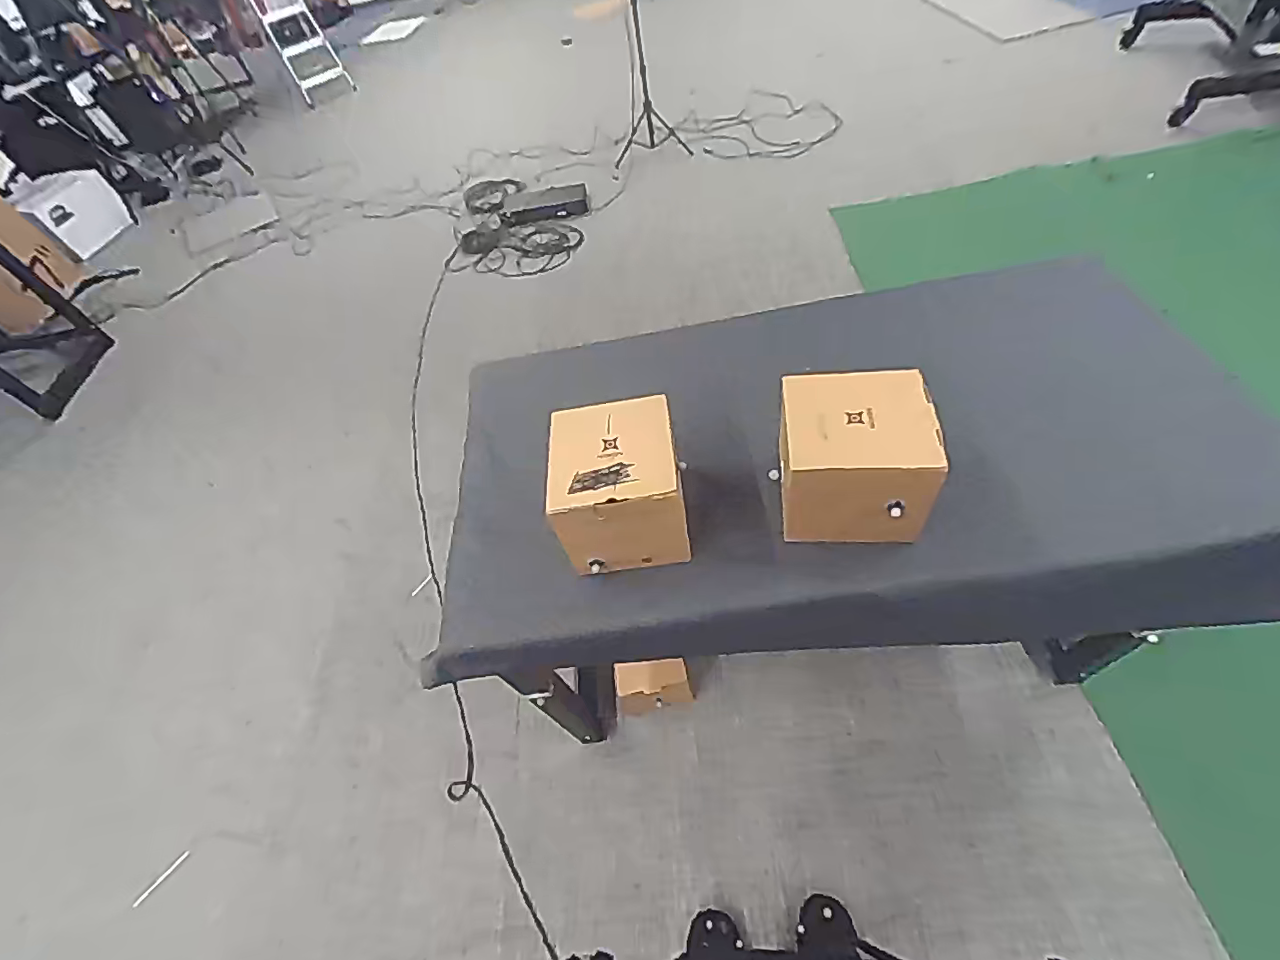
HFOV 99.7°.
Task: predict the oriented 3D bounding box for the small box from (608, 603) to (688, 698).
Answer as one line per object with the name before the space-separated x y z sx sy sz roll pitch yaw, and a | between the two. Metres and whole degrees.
small box | 0.023 0.436 1.362 0.168 0.176 0.179 -12 54 2

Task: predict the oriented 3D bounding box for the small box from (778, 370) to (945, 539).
small box | 0.284 -0.030 0.739 0.179 0.176 0.168 -1 53 11

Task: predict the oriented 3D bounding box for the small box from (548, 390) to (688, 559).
small box | -0.025 0.000 0.772 0.168 0.176 0.179 -7 52 5
